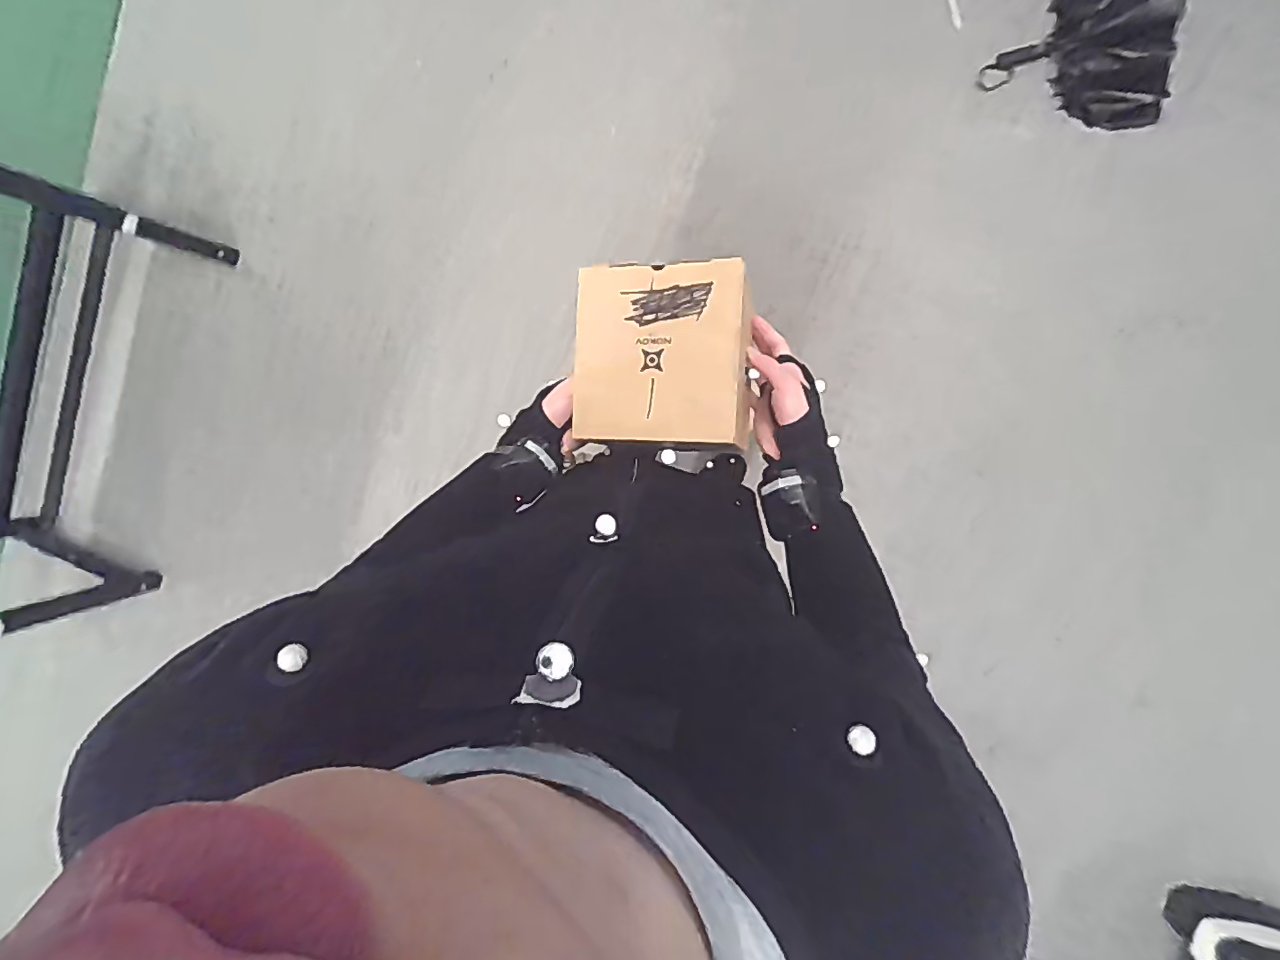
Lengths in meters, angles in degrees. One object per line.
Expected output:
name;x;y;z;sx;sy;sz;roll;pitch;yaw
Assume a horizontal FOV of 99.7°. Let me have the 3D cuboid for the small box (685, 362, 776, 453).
small box;0.238;-0.192;1.443;0.168;0.176;0.179;35;101;5
